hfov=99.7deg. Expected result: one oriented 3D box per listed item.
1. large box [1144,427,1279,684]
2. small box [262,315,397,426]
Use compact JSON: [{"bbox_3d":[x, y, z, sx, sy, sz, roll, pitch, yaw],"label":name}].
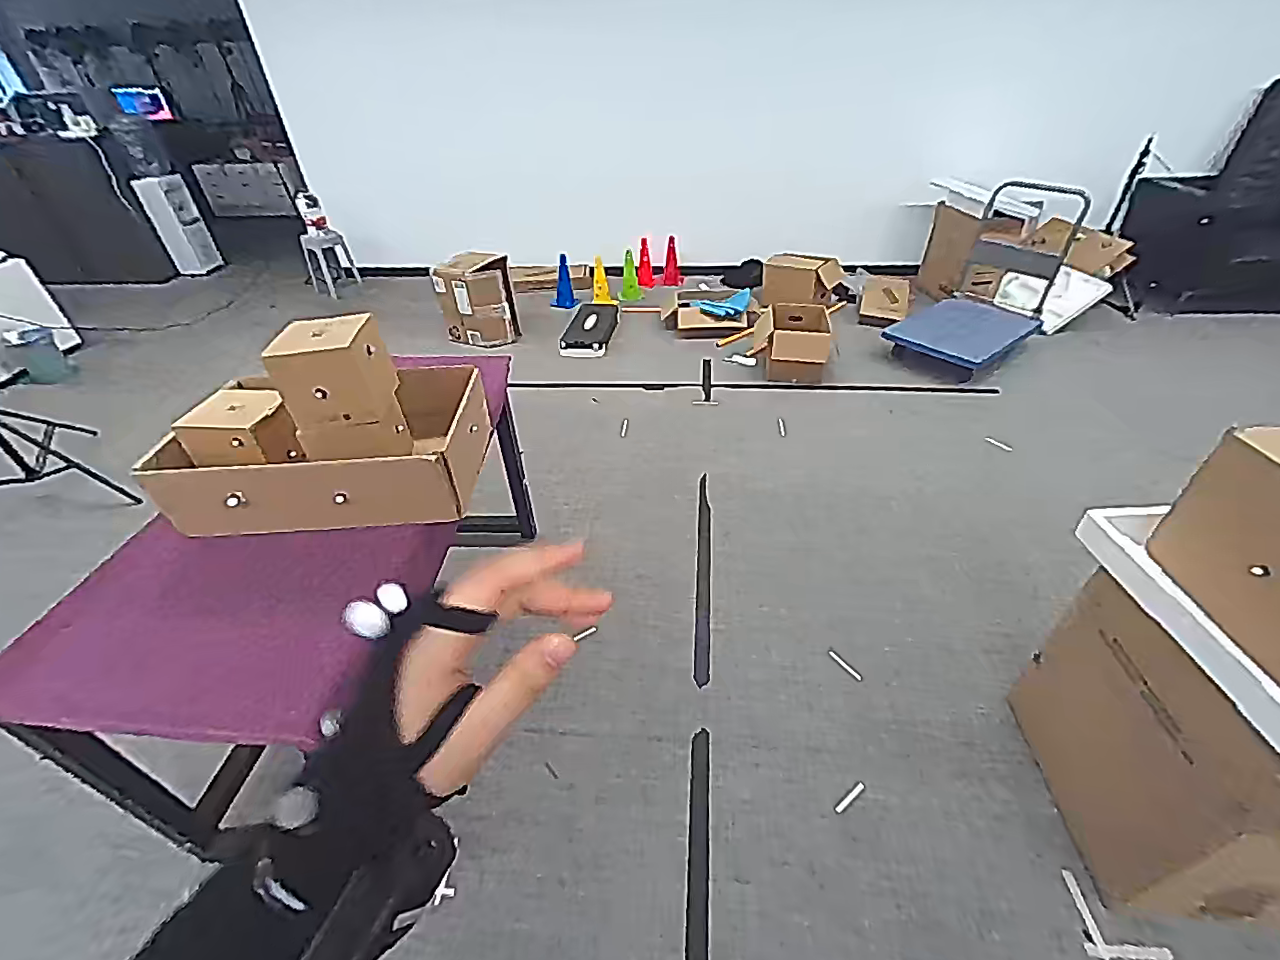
[{"bbox_3d":[1.226,0.145,0.920,0.320,0.320,0.408,0,36,2],"label":"large box"},{"bbox_3d":[-0.624,-0.222,1.117,0.168,0.176,0.179,-7,37,-3],"label":"small box"}]
